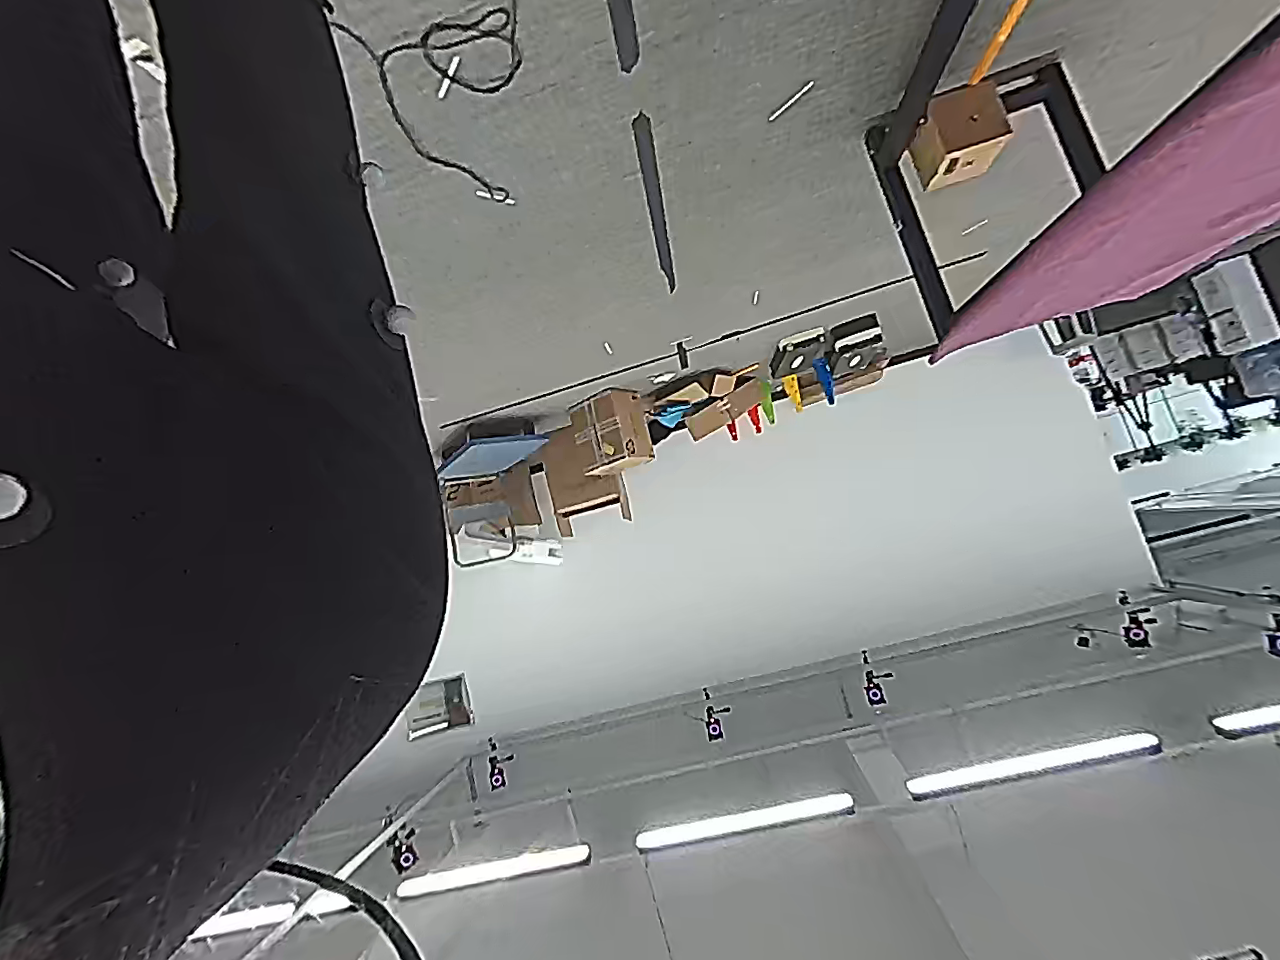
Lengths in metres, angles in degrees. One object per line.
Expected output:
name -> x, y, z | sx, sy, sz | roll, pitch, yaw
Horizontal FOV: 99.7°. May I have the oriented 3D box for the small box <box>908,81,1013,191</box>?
small box -> 0.882, -0.958, 1.509 | 0.179, 0.176, 0.168 | -17, 172, 6
